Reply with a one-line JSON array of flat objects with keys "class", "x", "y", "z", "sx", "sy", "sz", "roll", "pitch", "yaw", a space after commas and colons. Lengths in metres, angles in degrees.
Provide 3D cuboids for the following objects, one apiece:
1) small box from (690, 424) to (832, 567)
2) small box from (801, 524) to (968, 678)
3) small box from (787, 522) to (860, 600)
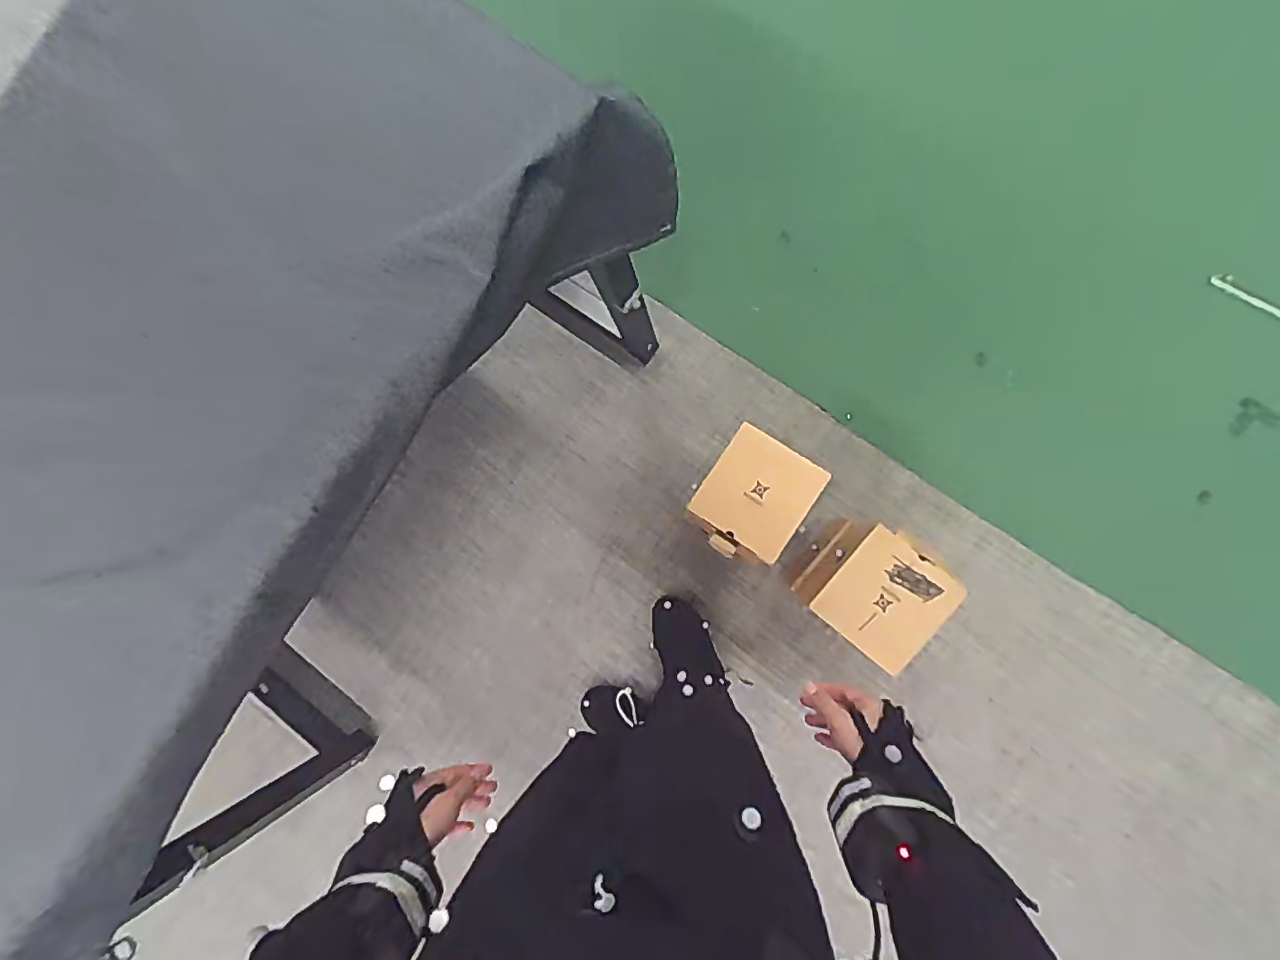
[{"class": "small box", "x": 0.201, "y": 0.030, "z": 0.943, "sx": 0.168, "sy": 0.176, "sz": 0.179, "roll": 33, "pitch": 90, "yaw": 9}, {"class": "small box", "x": 0.391, "y": 0.190, "z": 0.904, "sx": 0.168, "sy": 0.176, "sz": 0.179, "roll": 40, "pitch": 92, "yaw": 10}, {"class": "small box", "x": 0.408, "y": 0.198, "z": 1.068, "sx": 0.168, "sy": 0.176, "sz": 0.179, "roll": 40, "pitch": 93, "yaw": 10}]
